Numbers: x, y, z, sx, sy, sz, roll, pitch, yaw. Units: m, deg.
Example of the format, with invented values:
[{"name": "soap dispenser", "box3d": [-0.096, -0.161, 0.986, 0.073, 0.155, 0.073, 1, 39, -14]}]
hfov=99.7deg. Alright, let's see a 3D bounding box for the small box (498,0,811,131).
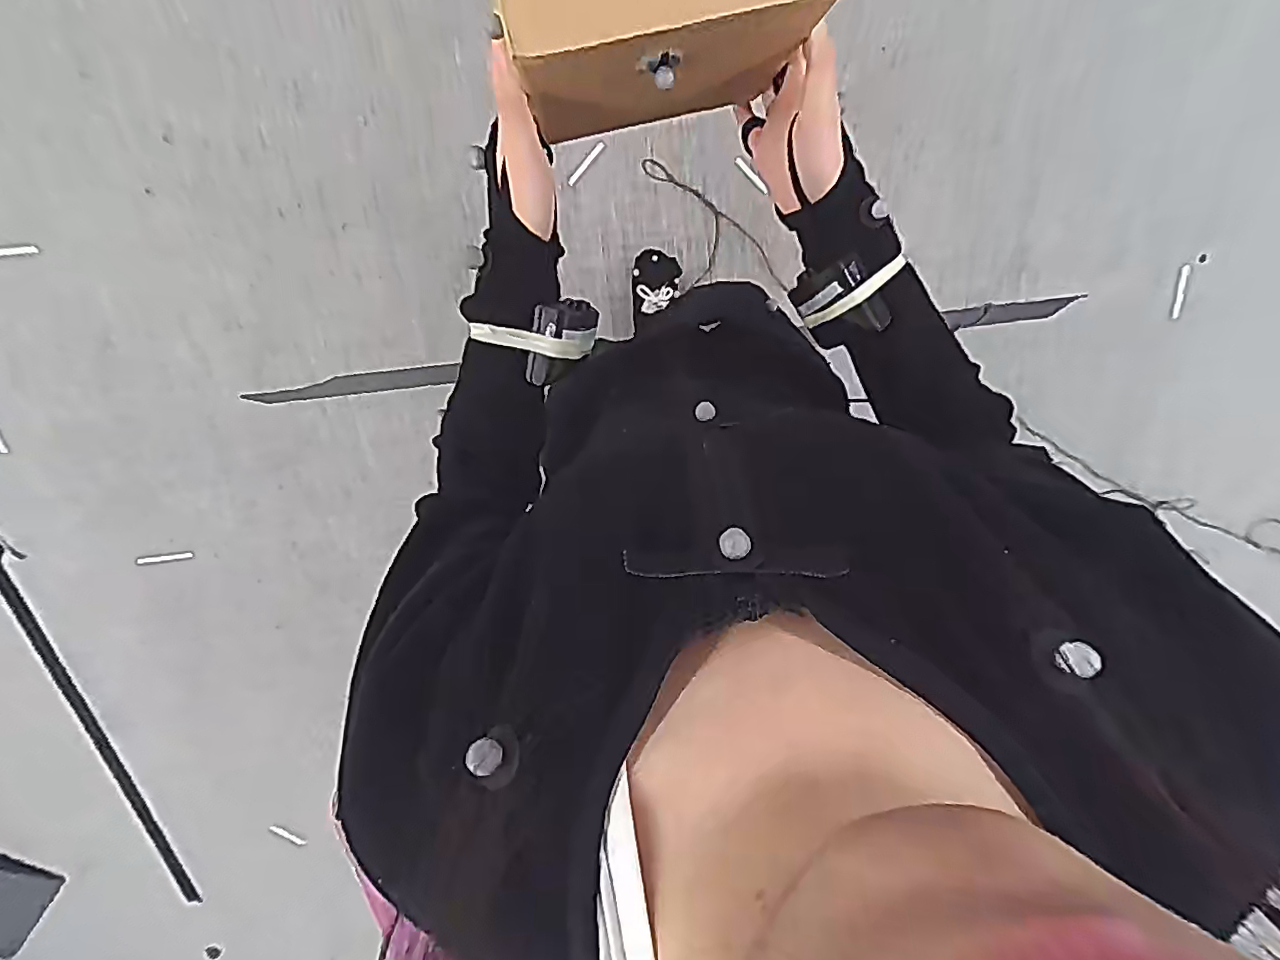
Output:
[{"name": "small box", "box3d": [-0.002, -0.335, 0.322, 0.179, 0.176, 0.168, -13, 110, -1]}]
